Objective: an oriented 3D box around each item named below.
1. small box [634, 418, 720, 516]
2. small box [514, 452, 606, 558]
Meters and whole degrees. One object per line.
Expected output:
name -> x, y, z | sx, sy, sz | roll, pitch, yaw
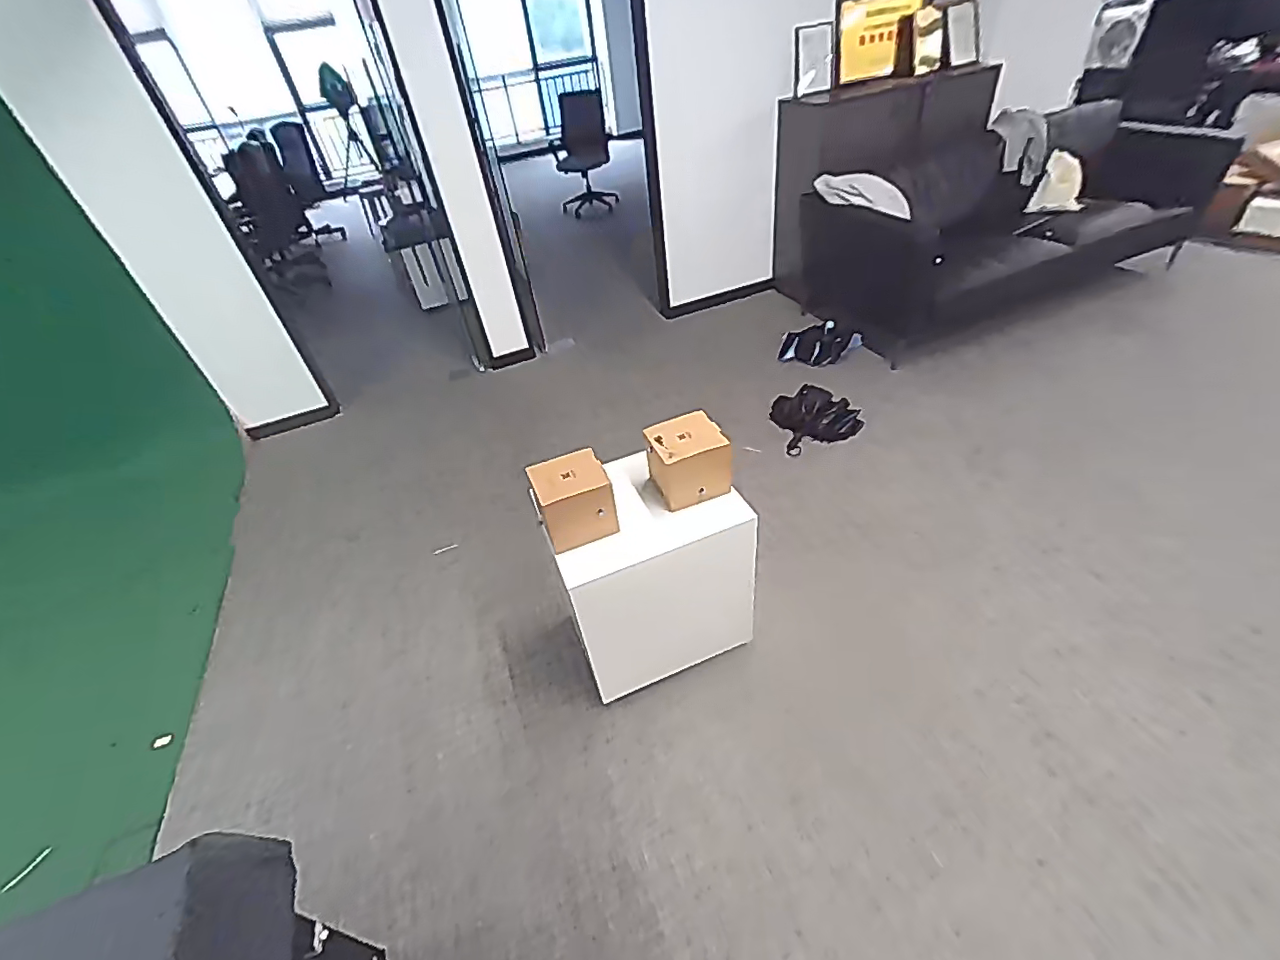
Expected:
small box -> 0.094, -0.034, 1.419 | 0.179, 0.176, 0.168 | -17, 41, -14
small box -> -0.193, 0.062, 1.338 | 0.179, 0.176, 0.168 | -20, 41, -17
